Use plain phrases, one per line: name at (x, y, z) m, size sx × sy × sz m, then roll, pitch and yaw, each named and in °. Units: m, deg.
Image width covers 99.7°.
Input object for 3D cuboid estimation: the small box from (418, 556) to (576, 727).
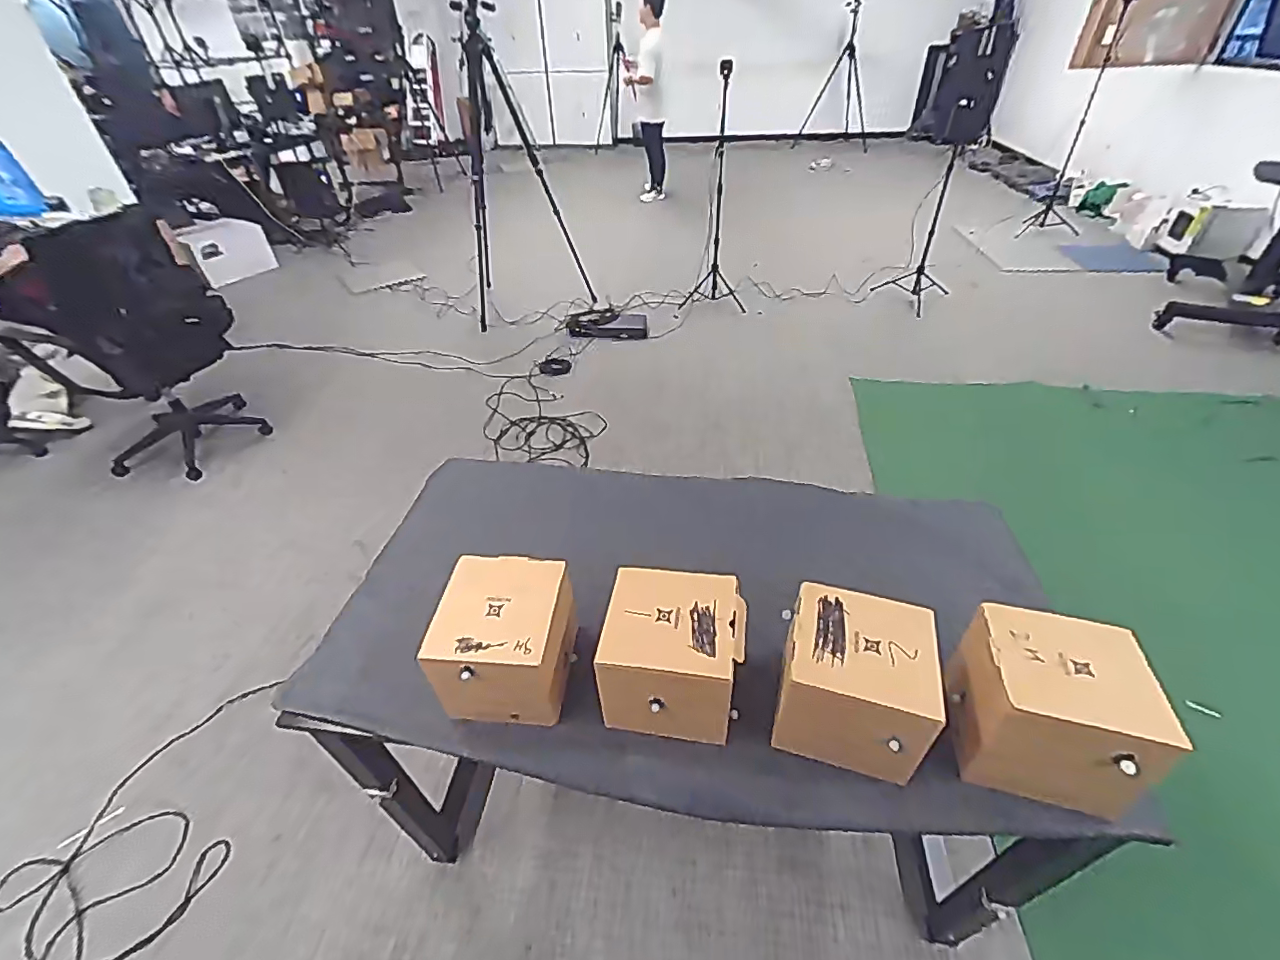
small box at (-0.196, 0.236, 0.802) m, size 0.168 × 0.176 × 0.179 m, roll 2°, pitch 40°, yaw 6°
